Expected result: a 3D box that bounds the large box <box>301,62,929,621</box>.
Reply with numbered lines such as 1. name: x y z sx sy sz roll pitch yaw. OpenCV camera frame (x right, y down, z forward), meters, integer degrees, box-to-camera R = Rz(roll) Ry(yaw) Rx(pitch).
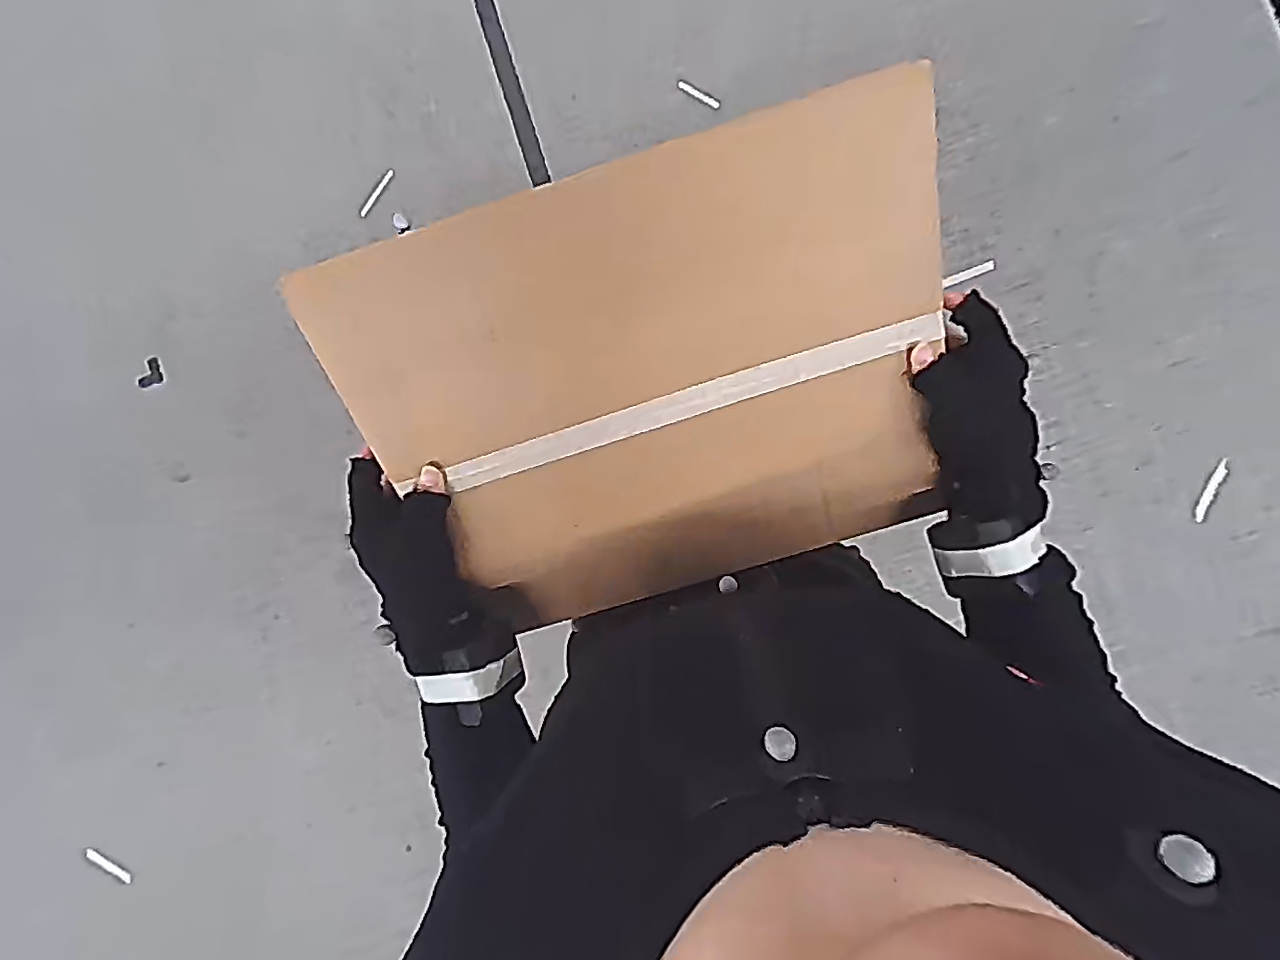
1. large box: -0.002 -0.126 0.532 0.408 0.320 0.320 -17 118 4
